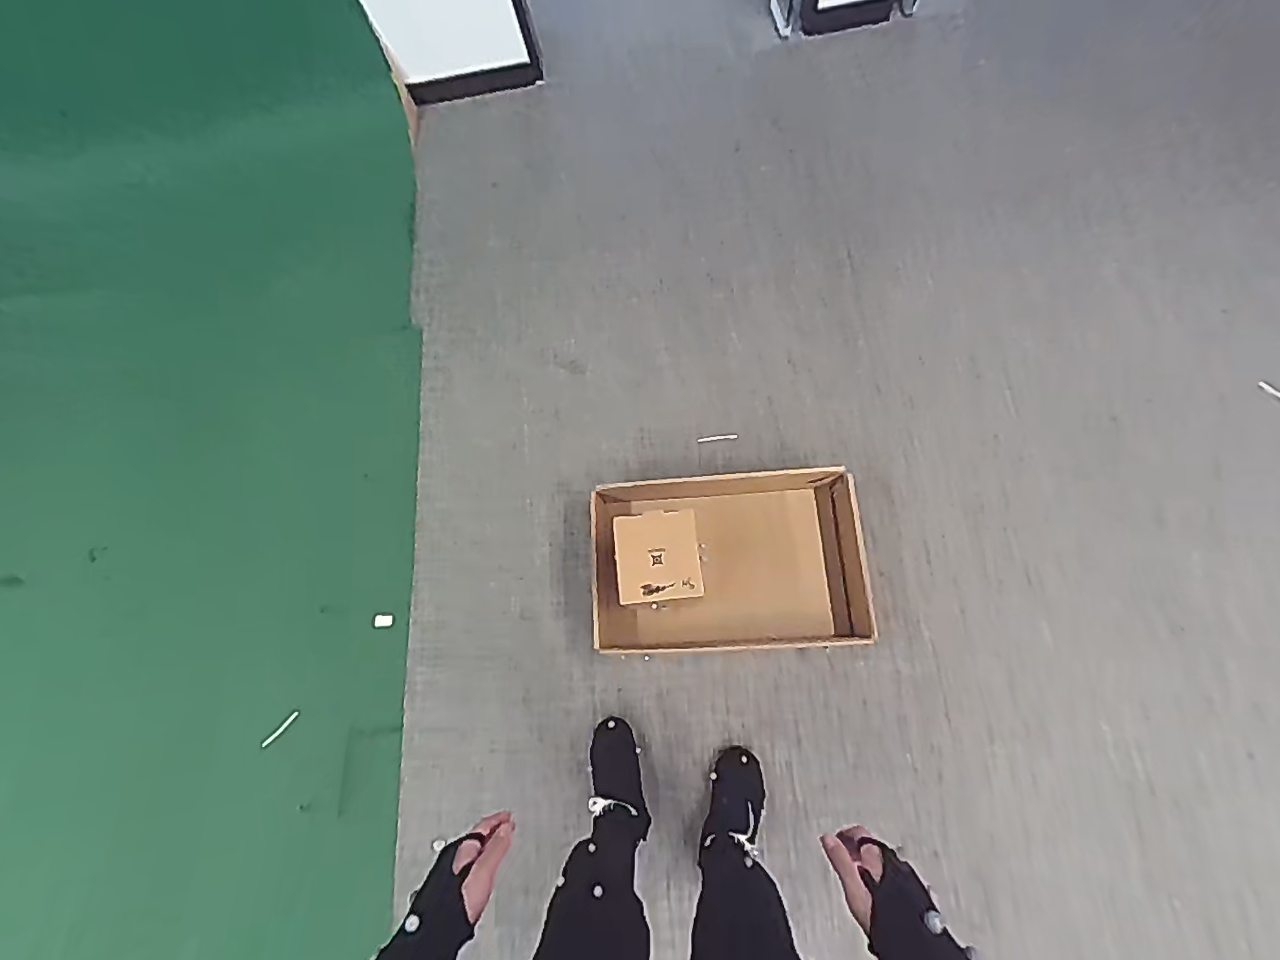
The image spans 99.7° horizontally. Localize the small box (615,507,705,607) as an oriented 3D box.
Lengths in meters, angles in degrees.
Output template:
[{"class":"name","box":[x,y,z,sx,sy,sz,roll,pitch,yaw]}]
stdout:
[{"class":"small box","box":[0.044,0.166,1.130,0.168,0.176,0.179,-7,73,5]}]
